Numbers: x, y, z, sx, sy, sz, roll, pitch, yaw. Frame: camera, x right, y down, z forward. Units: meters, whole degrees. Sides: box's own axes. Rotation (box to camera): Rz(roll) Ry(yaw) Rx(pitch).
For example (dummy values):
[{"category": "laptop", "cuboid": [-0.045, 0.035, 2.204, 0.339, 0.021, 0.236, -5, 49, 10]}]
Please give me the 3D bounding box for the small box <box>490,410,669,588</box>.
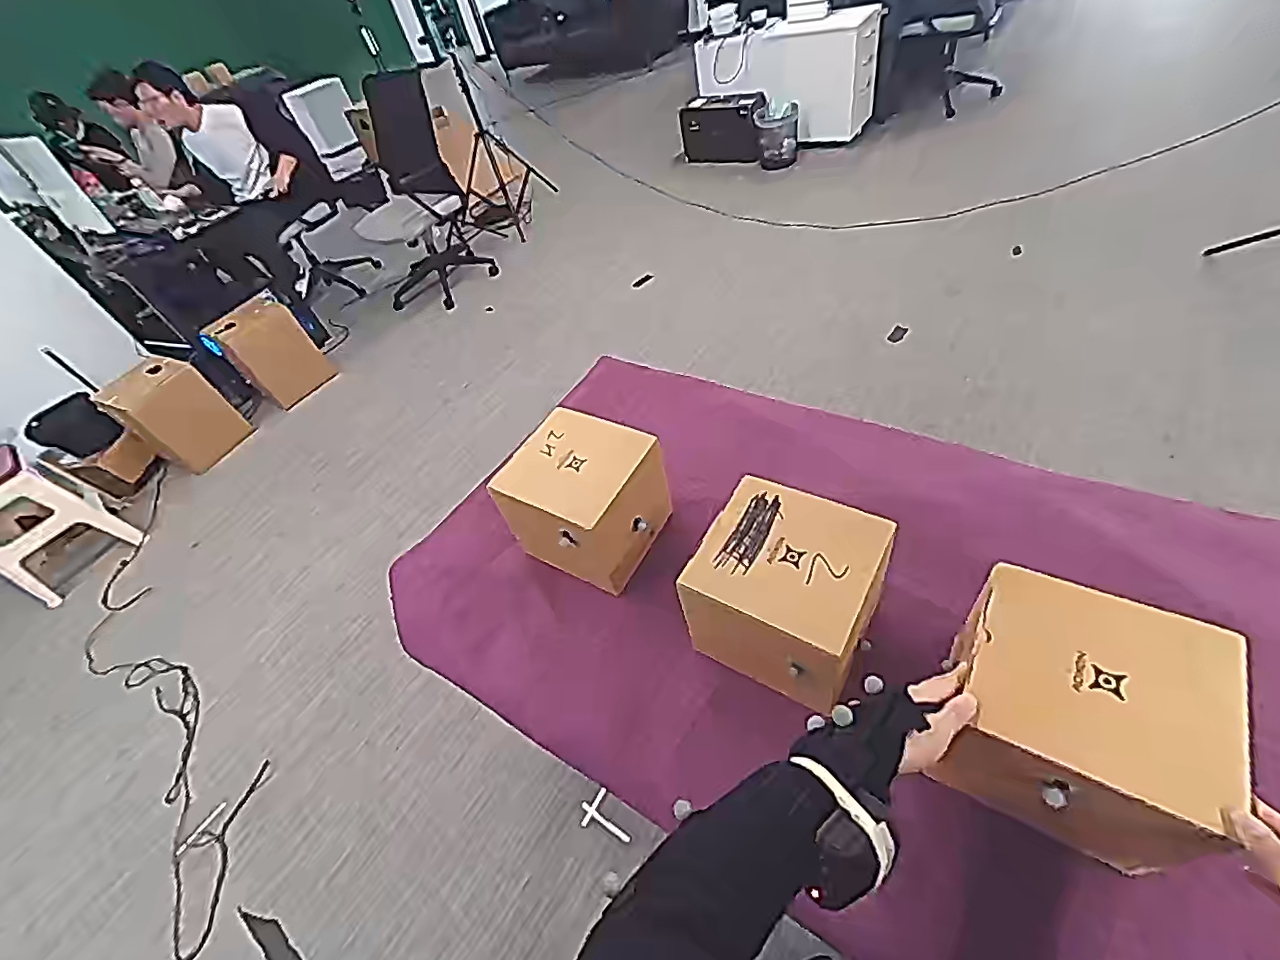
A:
[{"category": "small box", "cuboid": [-0.074, 0.031, 0.778, 0.179, 0.176, 0.168, 19, 56, 27]}]
